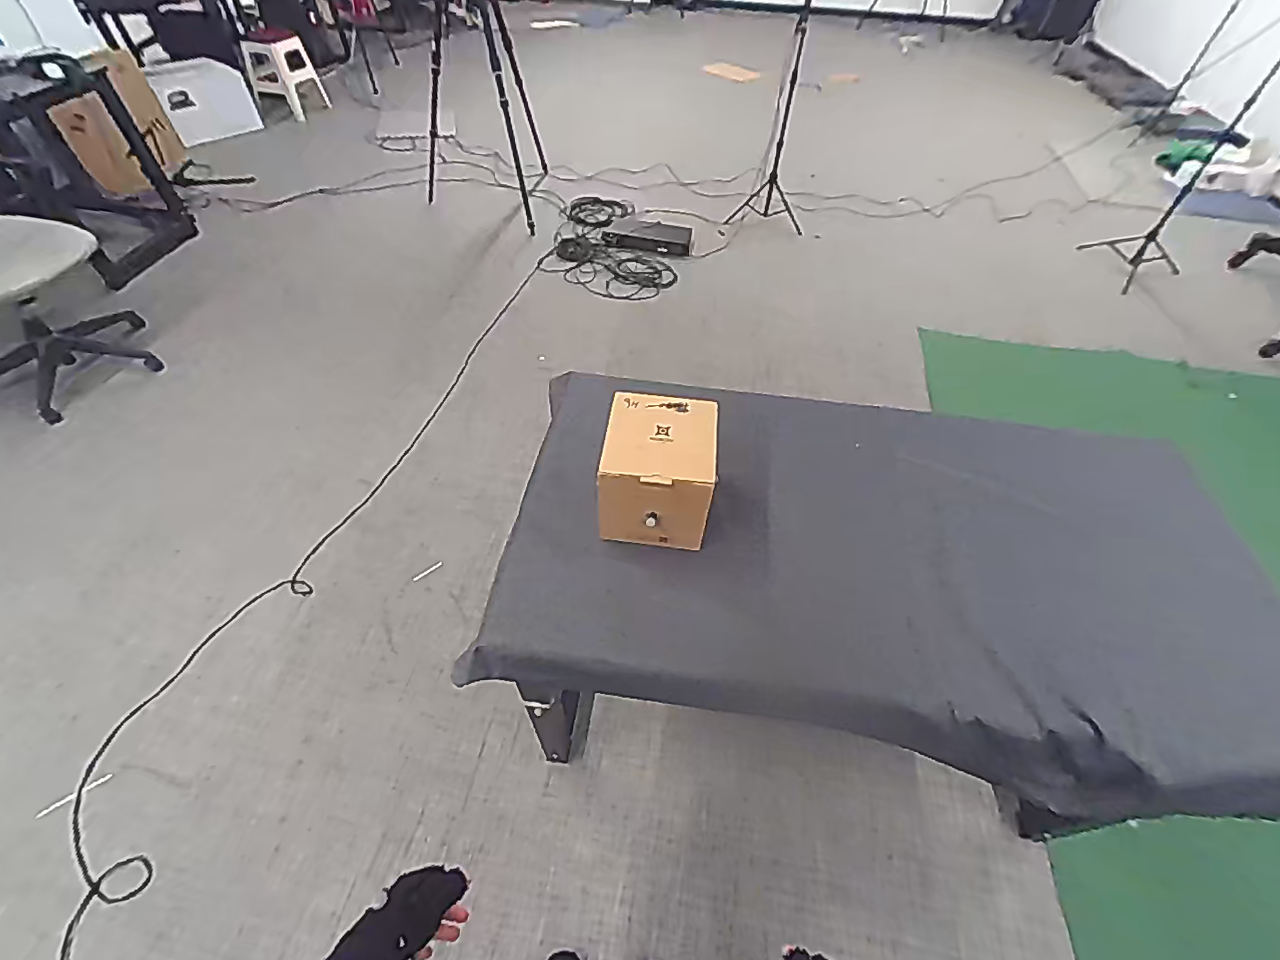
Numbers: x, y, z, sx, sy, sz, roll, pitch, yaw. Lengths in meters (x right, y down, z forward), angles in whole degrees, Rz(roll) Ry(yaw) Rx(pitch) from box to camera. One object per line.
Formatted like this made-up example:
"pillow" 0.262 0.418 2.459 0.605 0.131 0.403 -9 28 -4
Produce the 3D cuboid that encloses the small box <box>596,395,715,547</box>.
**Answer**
"small box" 0.027 -0.011 0.873 0.168 0.176 0.179 6 50 3
